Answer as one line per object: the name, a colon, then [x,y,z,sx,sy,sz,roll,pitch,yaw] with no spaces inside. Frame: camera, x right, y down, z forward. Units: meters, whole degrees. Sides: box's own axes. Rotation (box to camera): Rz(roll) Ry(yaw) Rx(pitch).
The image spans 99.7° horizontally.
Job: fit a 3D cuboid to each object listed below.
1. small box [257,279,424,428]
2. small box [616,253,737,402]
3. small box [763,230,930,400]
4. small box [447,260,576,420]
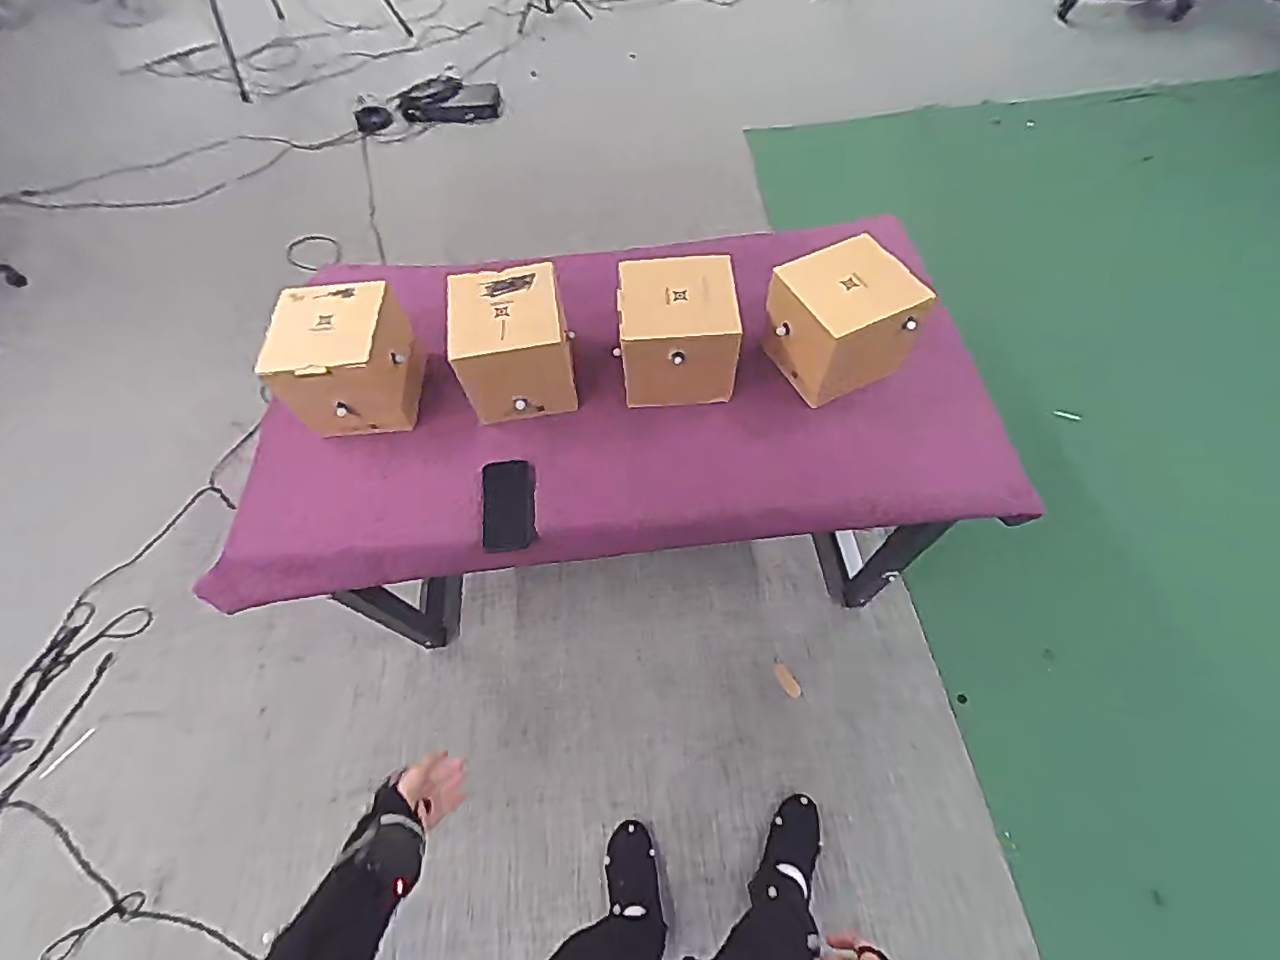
small box: [-0.470,-0.196,0.881,0.168,0.176,0.179,-5,62,1]
small box: [0.056,-0.240,0.876,0.179,0.176,0.168,-3,62,2]
small box: [0.314,-0.259,0.870,0.179,0.176,0.168,-24,62,-10]
small box: [-0.203,-0.223,0.881,0.168,0.176,0.179,-9,62,-2]
